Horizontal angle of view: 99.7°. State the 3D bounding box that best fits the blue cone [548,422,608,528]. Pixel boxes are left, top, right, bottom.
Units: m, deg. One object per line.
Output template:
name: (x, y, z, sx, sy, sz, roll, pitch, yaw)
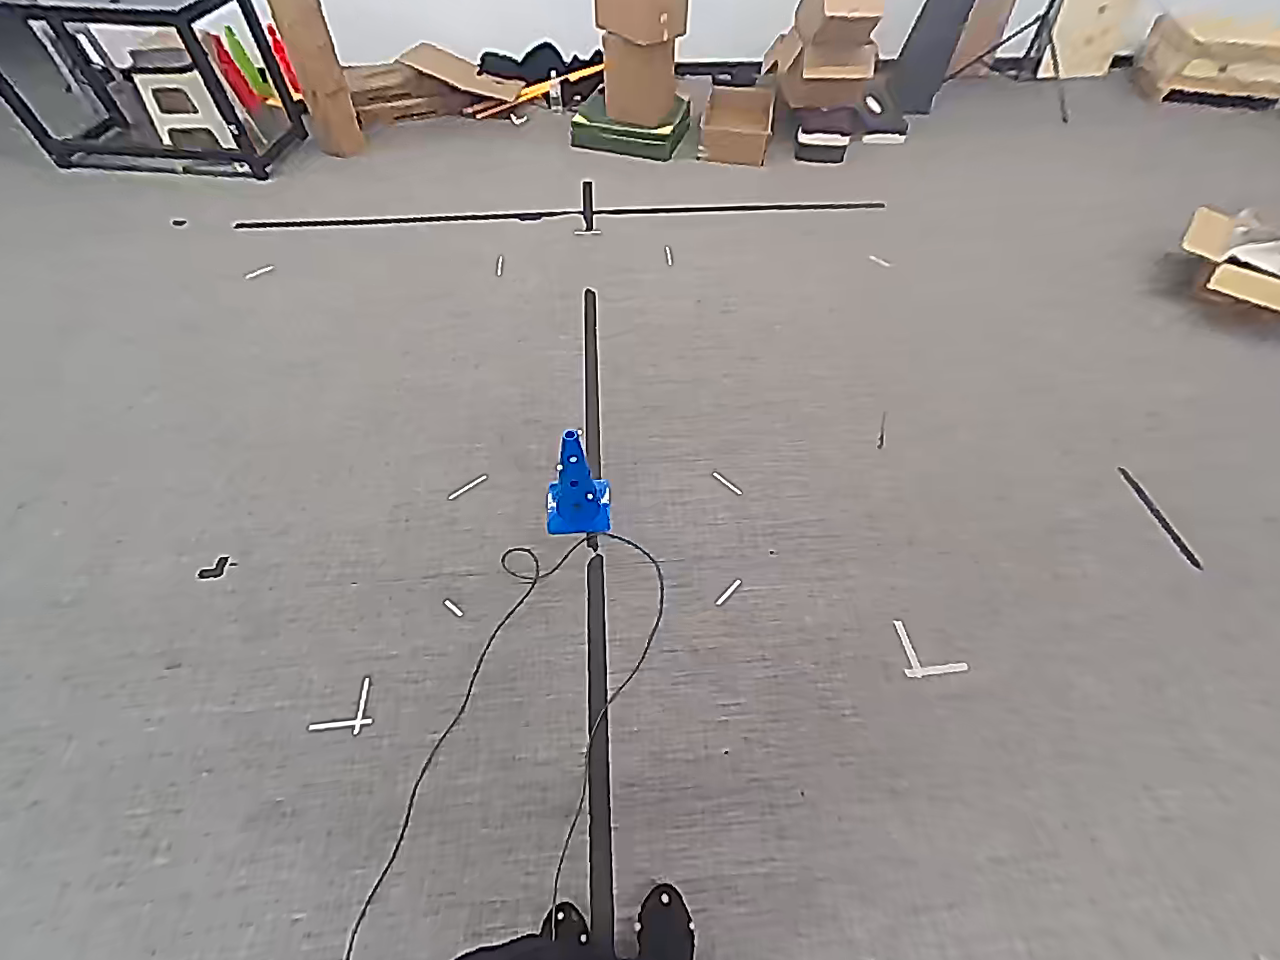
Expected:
blue cone: (-0.196, -0.026, 1.590, 0.193, 0.380, 0.192, -4, 55, -4)
